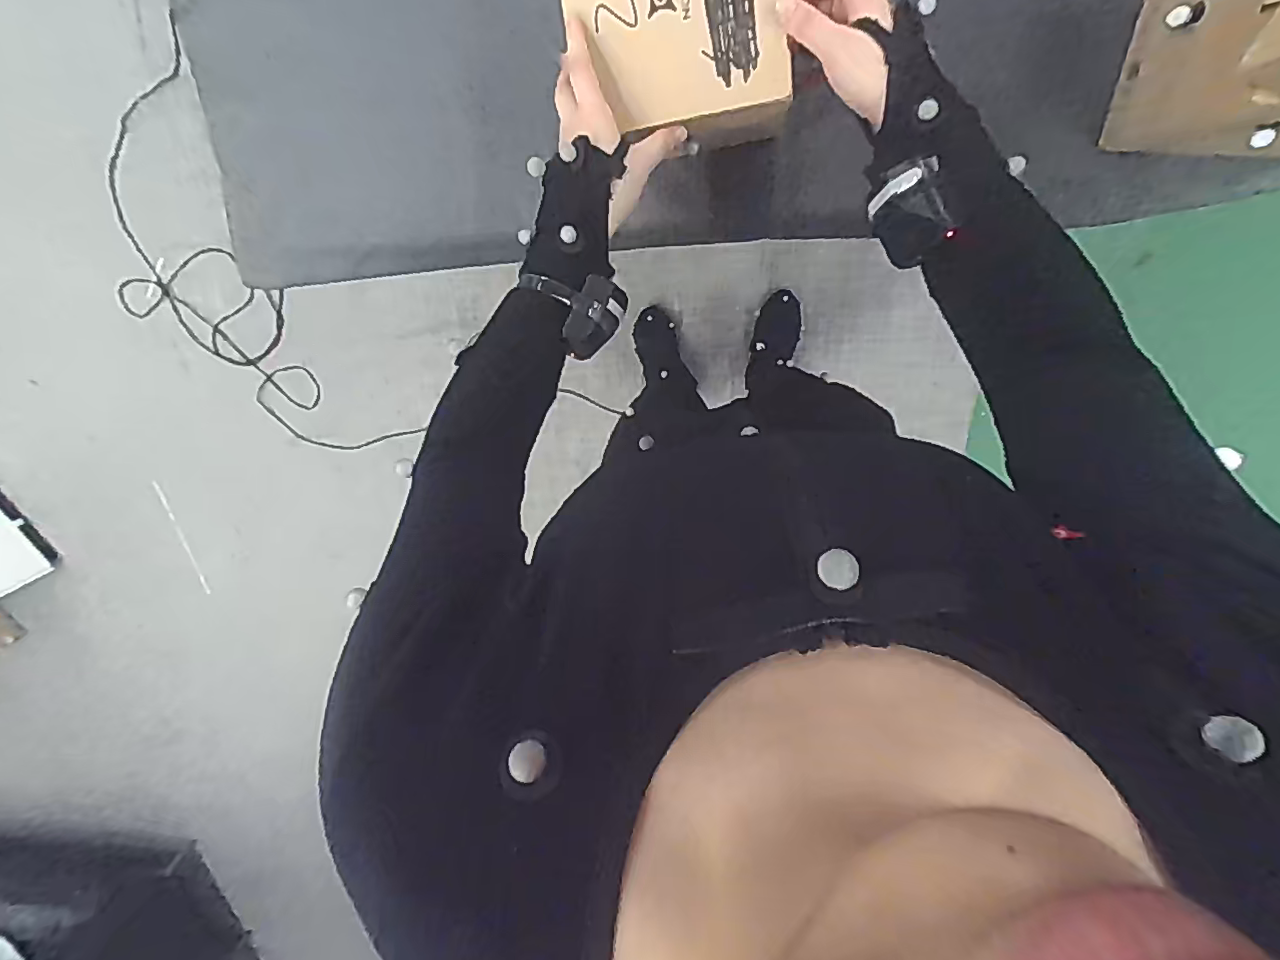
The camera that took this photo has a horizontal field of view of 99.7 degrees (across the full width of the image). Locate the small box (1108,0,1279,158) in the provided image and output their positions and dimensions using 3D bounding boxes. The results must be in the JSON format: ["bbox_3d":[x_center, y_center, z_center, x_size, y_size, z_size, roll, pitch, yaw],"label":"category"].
[{"bbox_3d":[0.533,-0.364,0.426,0.179,0.176,0.168,6,112,7],"label":"small box"}]
